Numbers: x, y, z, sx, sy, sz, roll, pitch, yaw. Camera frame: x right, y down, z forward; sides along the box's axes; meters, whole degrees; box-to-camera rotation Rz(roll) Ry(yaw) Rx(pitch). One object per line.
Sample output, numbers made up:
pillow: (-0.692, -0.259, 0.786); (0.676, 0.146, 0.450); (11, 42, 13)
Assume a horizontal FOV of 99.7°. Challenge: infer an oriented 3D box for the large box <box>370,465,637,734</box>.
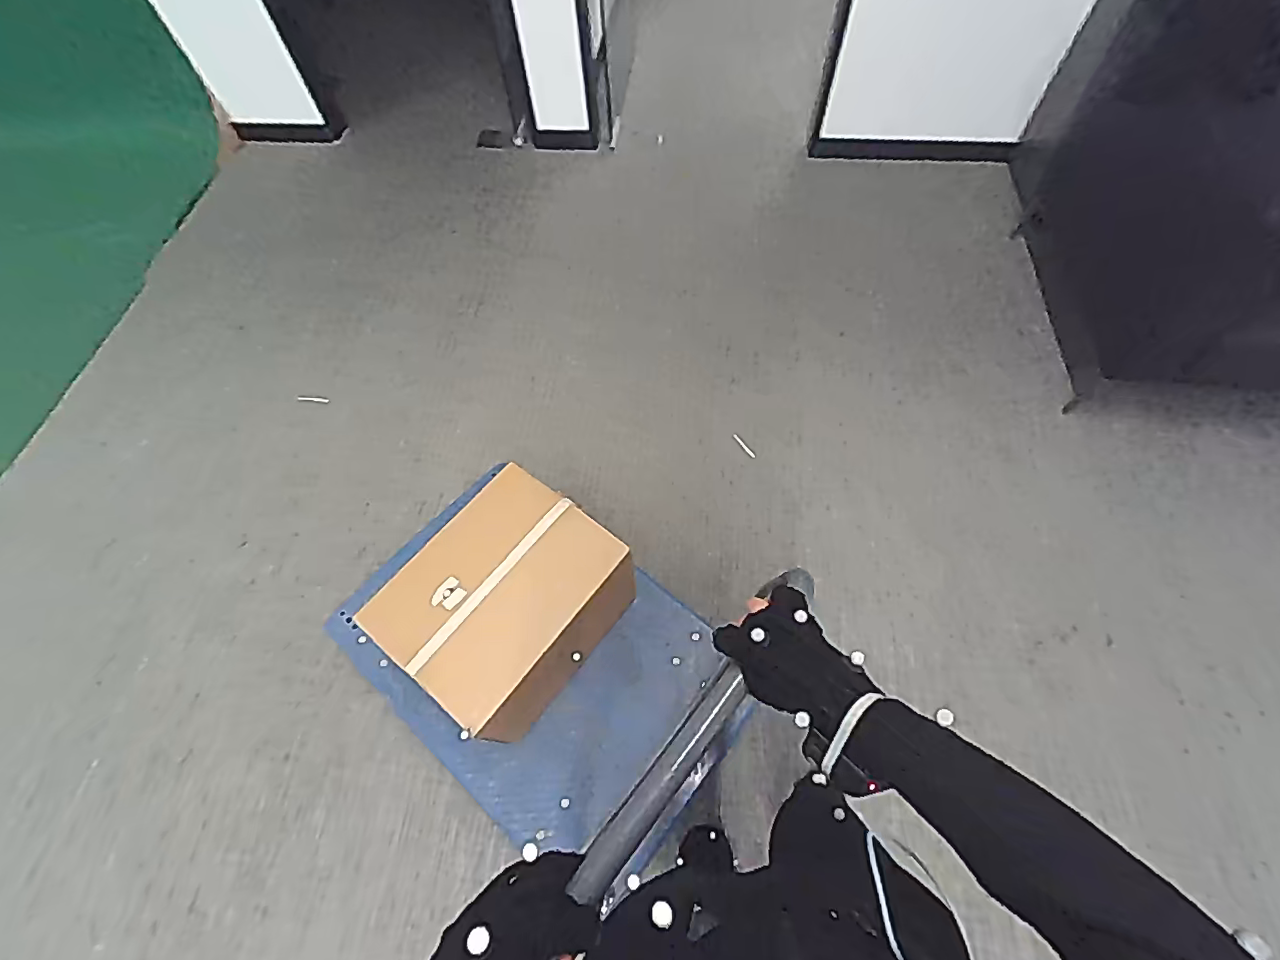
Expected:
large box: (-0.244, 0.253, 1.124); (0.320, 0.320, 0.408); (33, 69, 18)
